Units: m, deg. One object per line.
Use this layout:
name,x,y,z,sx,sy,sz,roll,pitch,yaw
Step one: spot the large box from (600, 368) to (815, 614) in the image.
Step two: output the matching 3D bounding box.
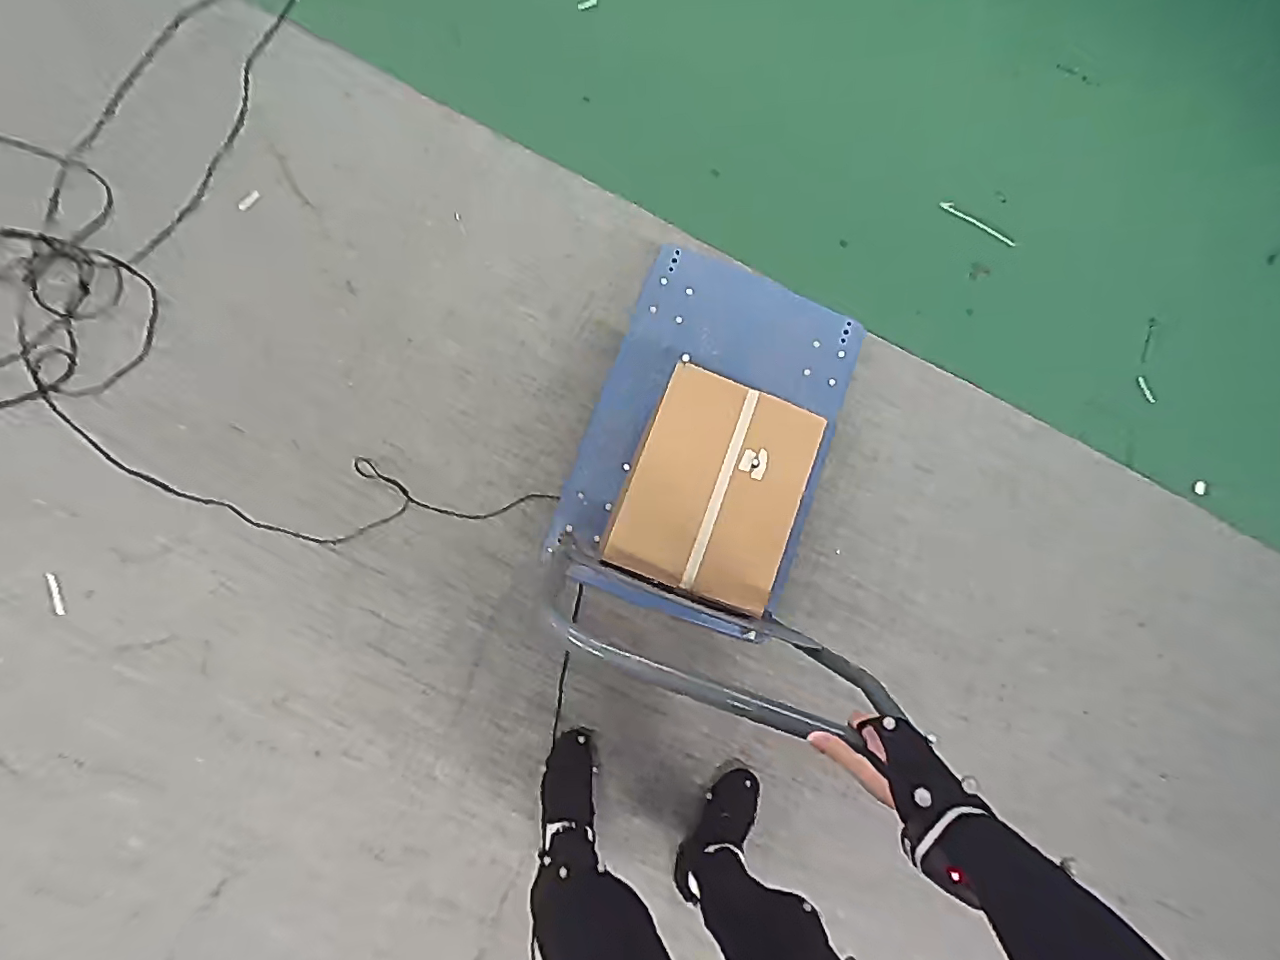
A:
large box,0.124,0.039,1.171,0.320,0.320,0.408,21,80,-4
